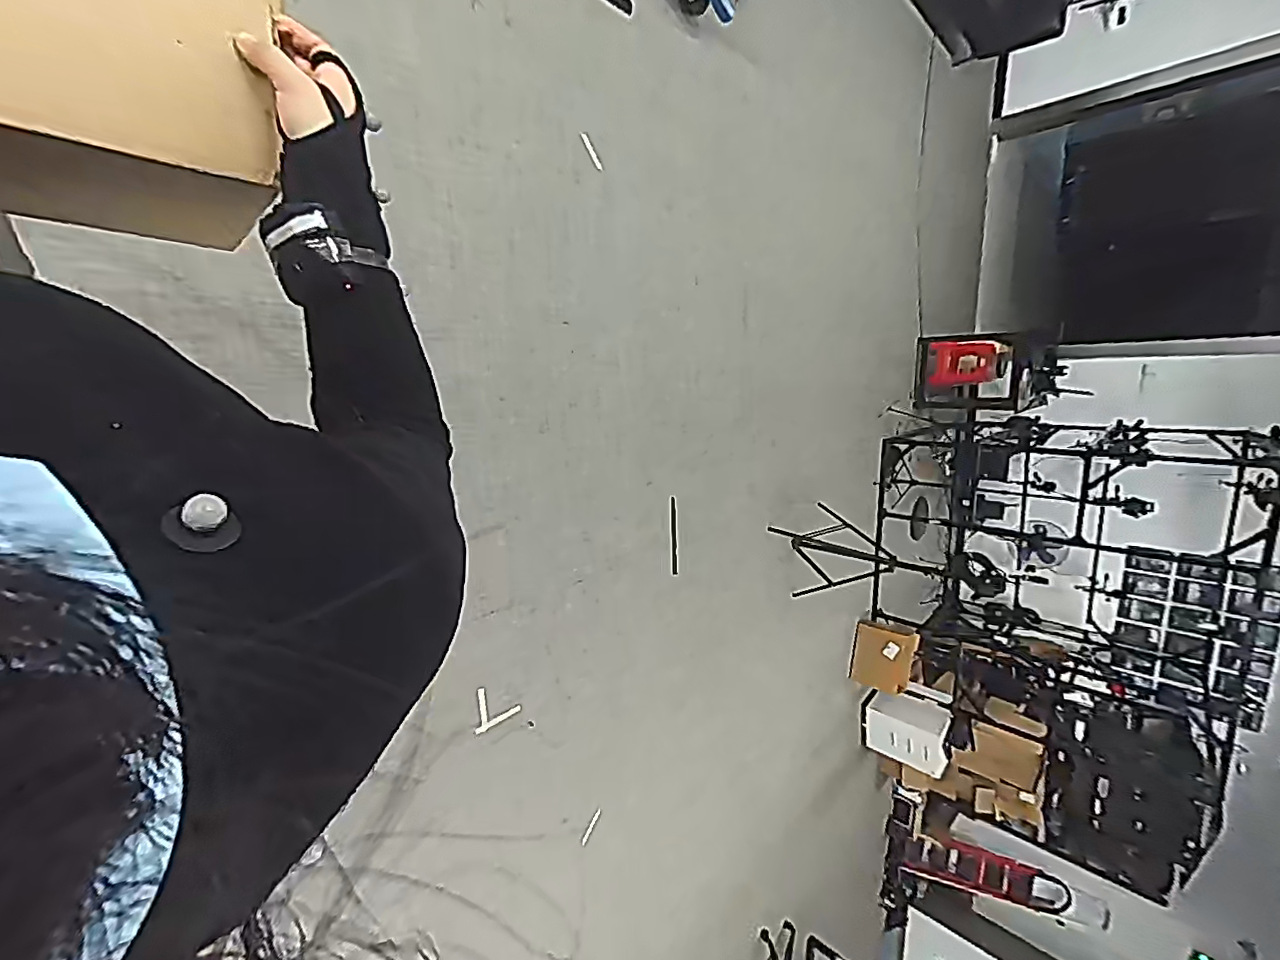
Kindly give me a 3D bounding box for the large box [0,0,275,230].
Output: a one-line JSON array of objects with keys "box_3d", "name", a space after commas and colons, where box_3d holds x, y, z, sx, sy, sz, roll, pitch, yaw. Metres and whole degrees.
[{"box_3d": [-0.535, -0.403, 0.390, 0.408, 0.320, 0.320, -6, 102, -41], "name": "large box"}]
